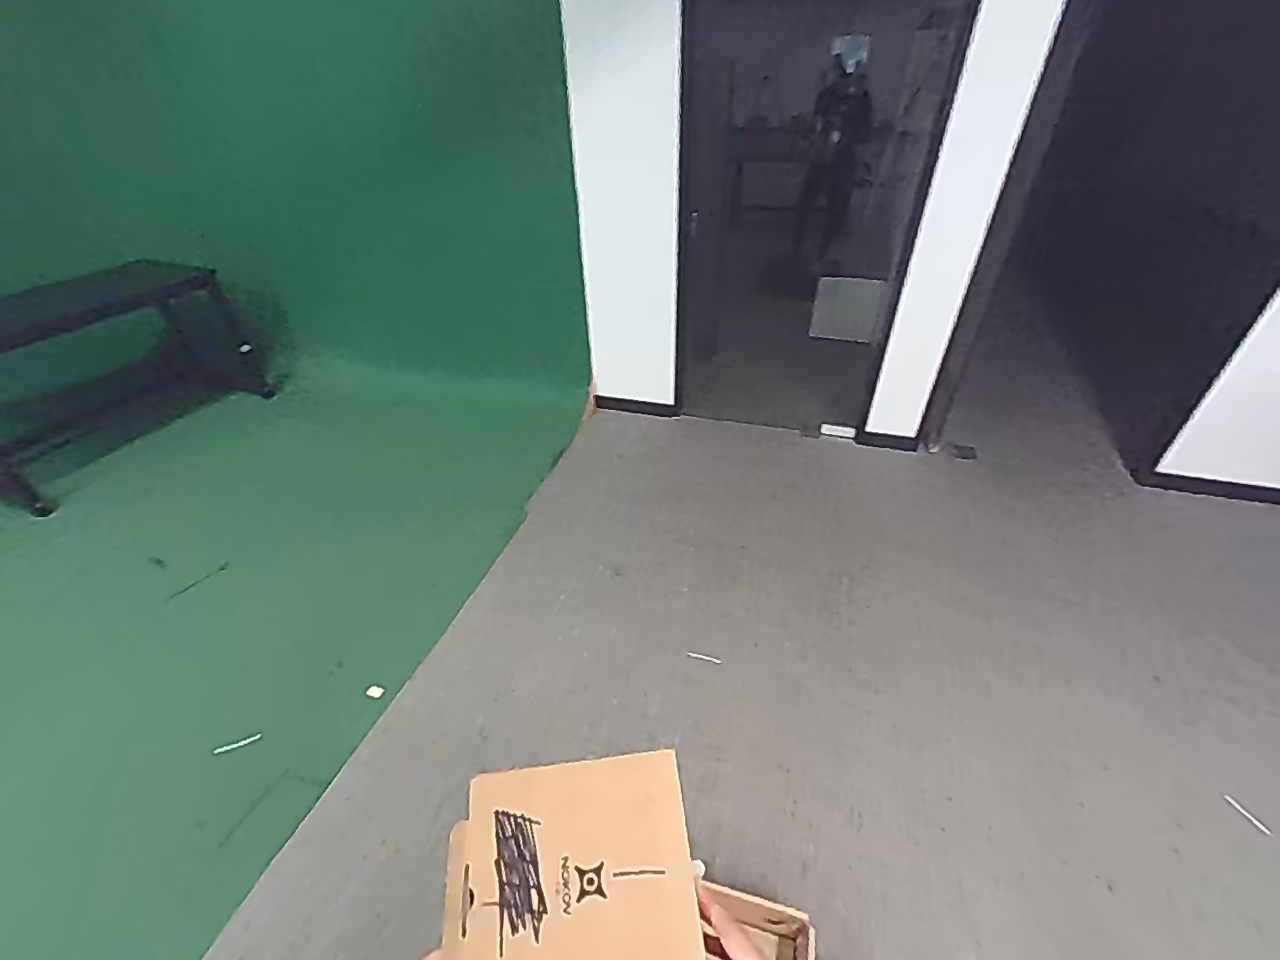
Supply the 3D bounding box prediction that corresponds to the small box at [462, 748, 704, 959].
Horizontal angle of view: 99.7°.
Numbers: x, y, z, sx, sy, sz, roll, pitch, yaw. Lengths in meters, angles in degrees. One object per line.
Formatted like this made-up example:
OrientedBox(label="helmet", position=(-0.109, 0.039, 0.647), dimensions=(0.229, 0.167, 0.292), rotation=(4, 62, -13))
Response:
OrientedBox(label="small box", position=(-0.045, 0.353, 0.479), dimensions=(0.179, 0.176, 0.168), rotation=(-7, 55, -4))
